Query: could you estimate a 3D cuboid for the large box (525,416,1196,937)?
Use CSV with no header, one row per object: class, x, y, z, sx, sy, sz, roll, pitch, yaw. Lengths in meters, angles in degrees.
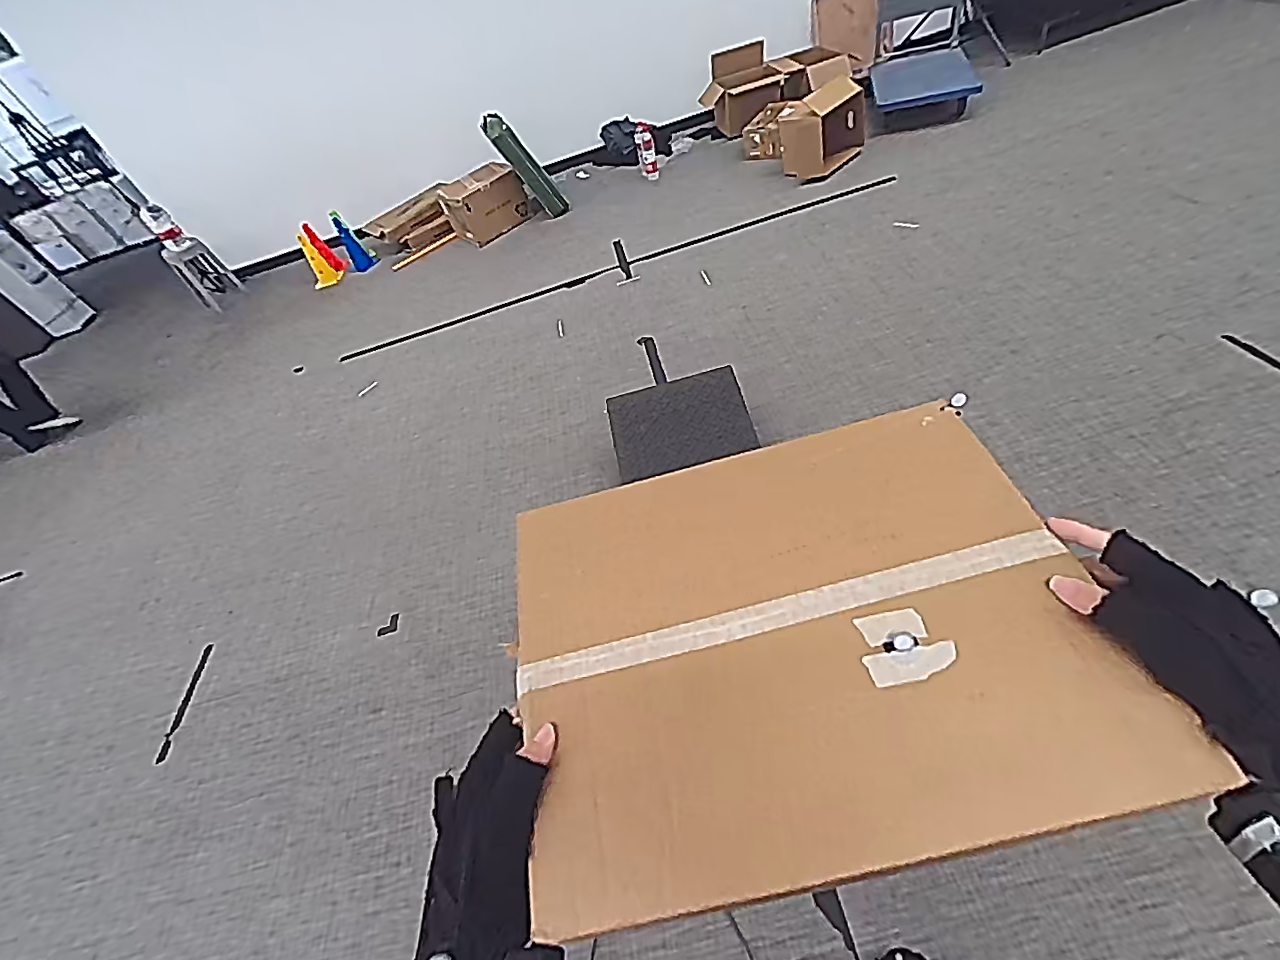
large box,0.136,0.197,0.528,0.408,0.320,0.320,-15,51,2
